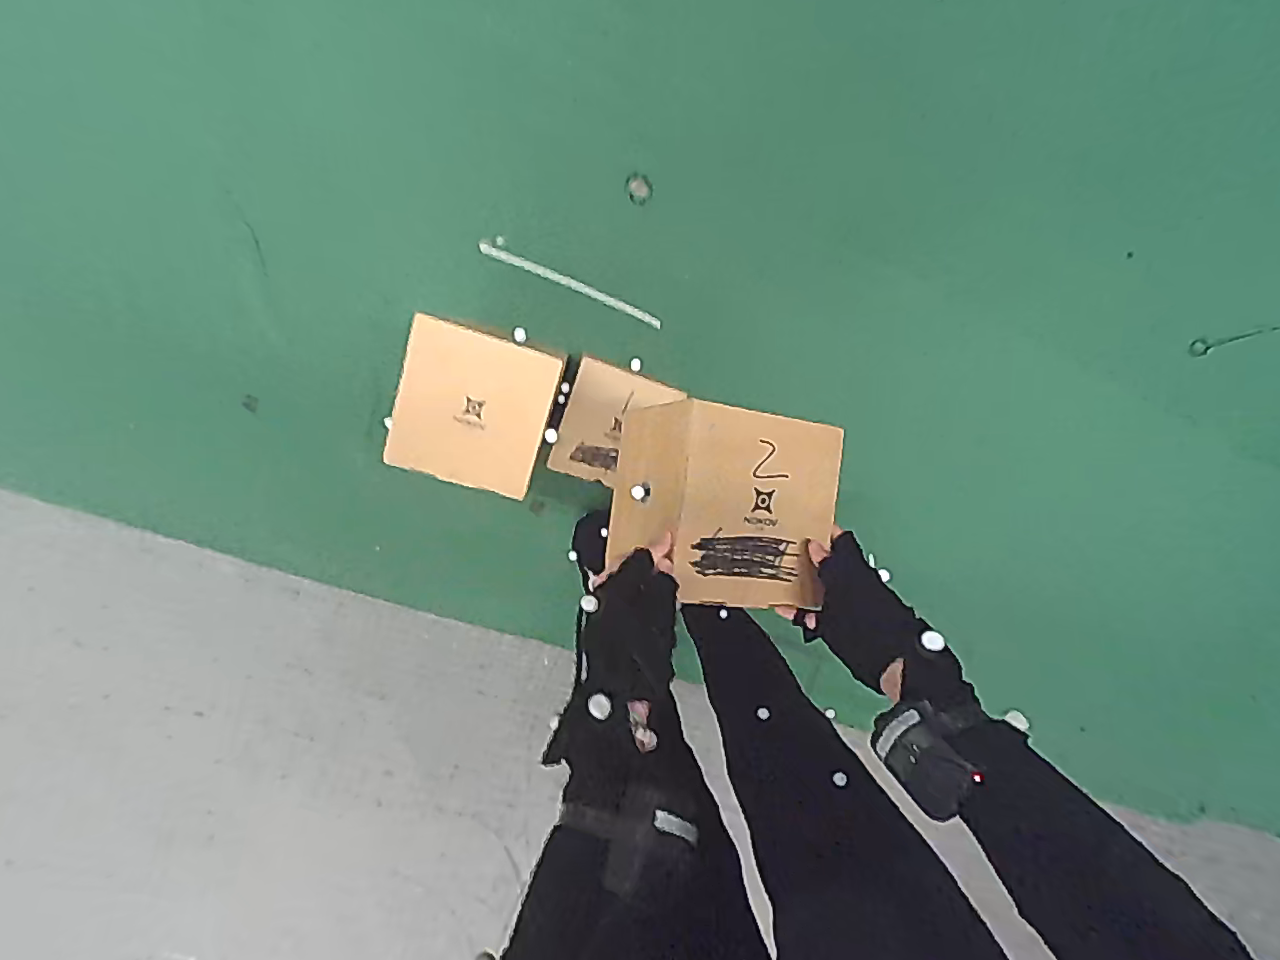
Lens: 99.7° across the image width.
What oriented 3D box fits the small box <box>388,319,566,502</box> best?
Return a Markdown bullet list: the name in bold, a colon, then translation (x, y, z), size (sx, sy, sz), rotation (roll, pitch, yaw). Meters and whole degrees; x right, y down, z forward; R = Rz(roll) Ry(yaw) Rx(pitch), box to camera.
- **small box**: translation (-0.198, -0.096, 0.693), size (0.168, 0.176, 0.179), rotation (16, 104, -11)
